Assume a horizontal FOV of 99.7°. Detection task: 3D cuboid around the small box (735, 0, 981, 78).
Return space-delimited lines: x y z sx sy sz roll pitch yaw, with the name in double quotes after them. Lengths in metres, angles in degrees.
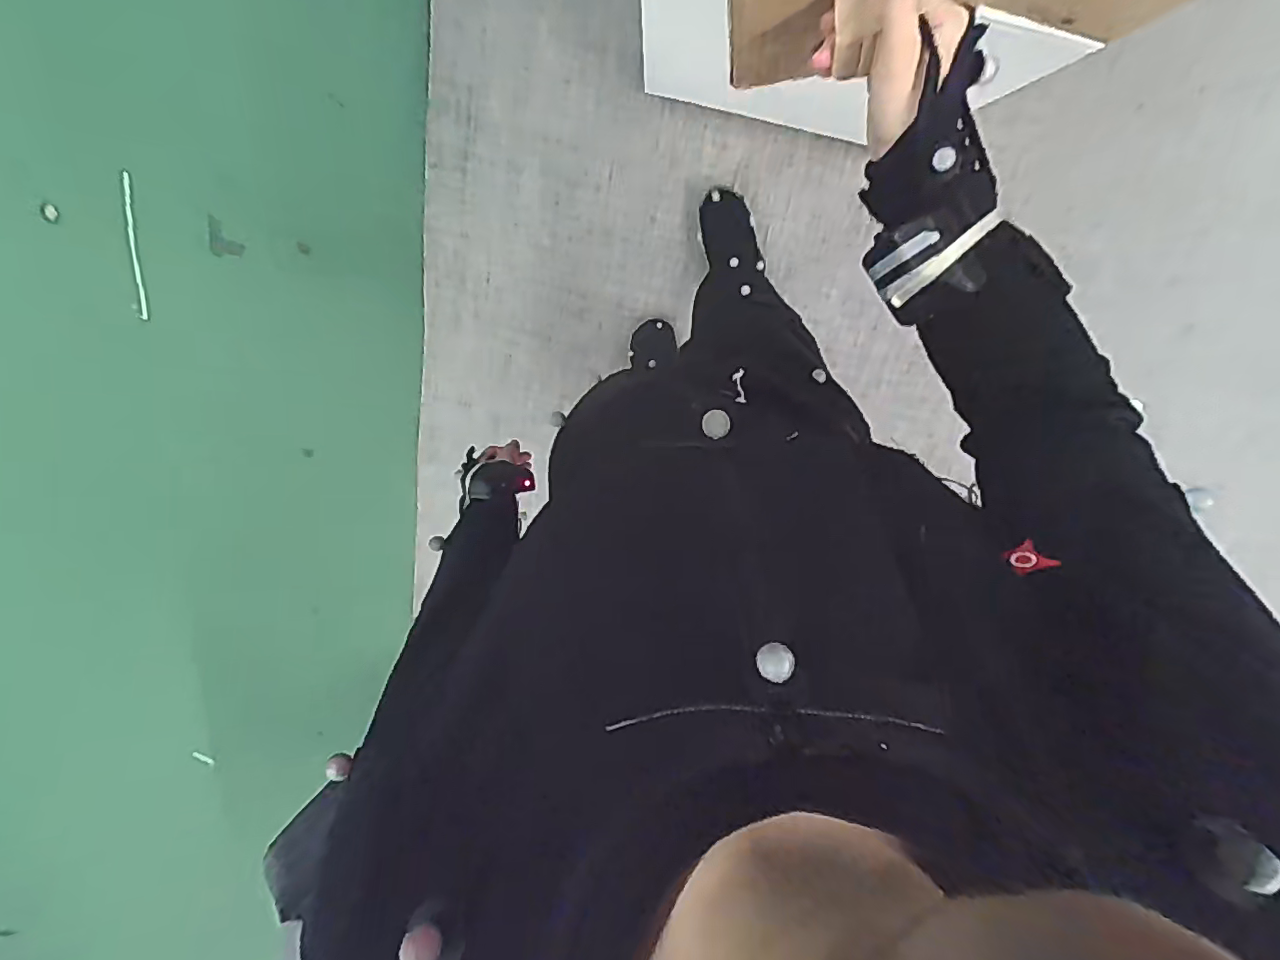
0.142 -0.396 0.338 0.168 0.176 0.179 -3 108 10 "small box"
